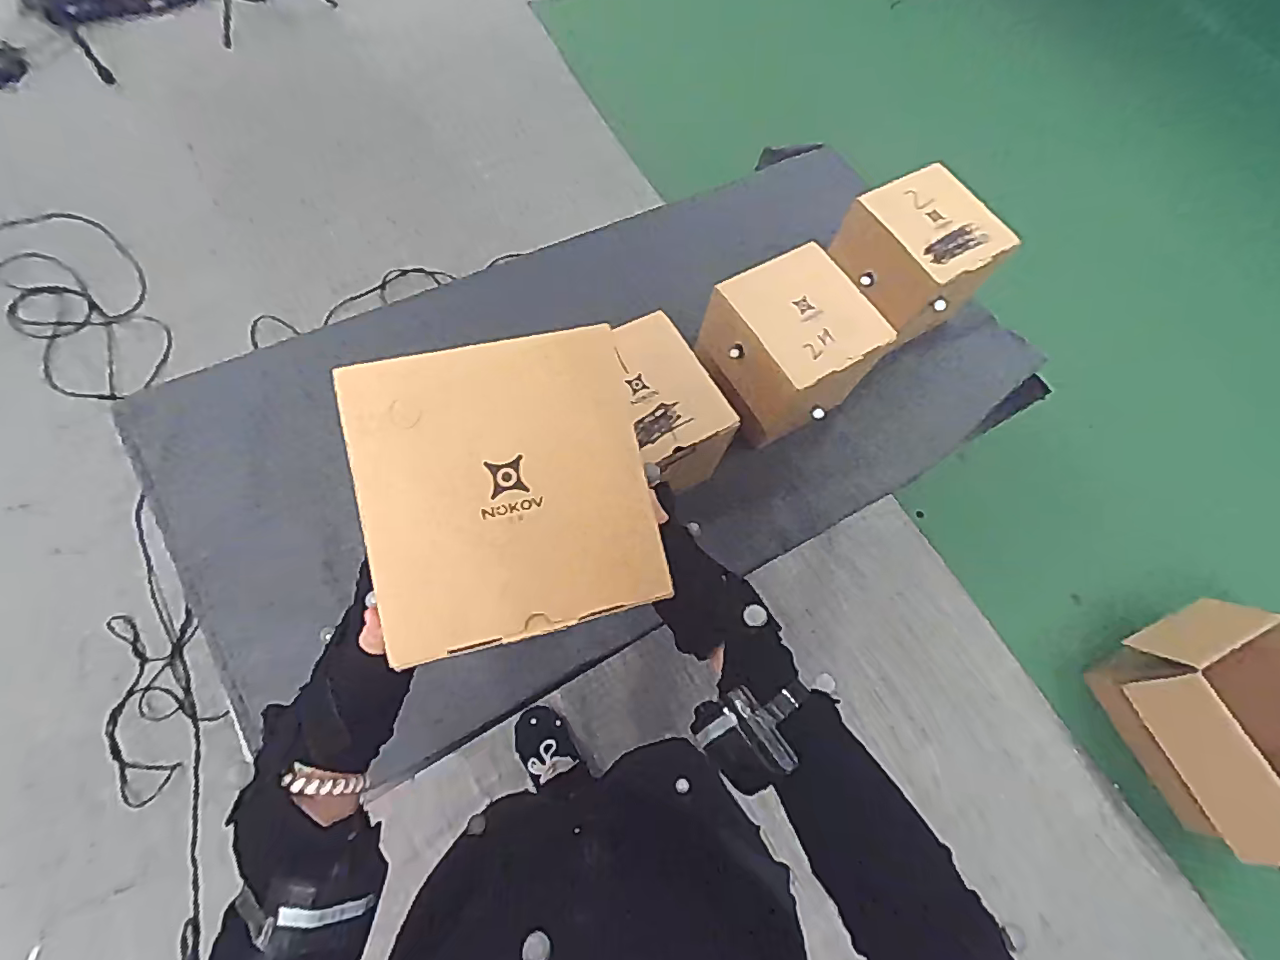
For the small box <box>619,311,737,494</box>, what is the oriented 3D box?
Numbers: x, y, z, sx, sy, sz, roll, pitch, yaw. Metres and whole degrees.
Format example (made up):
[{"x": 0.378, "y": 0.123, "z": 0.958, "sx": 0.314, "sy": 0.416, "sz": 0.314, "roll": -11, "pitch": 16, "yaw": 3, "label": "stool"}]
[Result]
[{"x": -0.008, "y": -0.070, "z": 0.681, "sx": 0.168, "sy": 0.176, "sz": 0.179, "roll": -27, "pitch": 73, "yaw": -16, "label": "small box"}]

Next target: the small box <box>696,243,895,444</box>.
[{"x": 0.198, "y": -0.180, "z": 0.747, "sx": 0.168, "sy": 0.176, "sz": 0.179, "roll": -29, "pitch": 74, "yaw": -16, "label": "small box"}]

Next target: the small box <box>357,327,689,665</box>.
[{"x": -0.082, "y": 0.012, "z": 0.394, "sx": 0.168, "sy": 0.176, "sz": 0.179, "roll": -12, "pitch": 87, "yaw": -12, "label": "small box"}]
